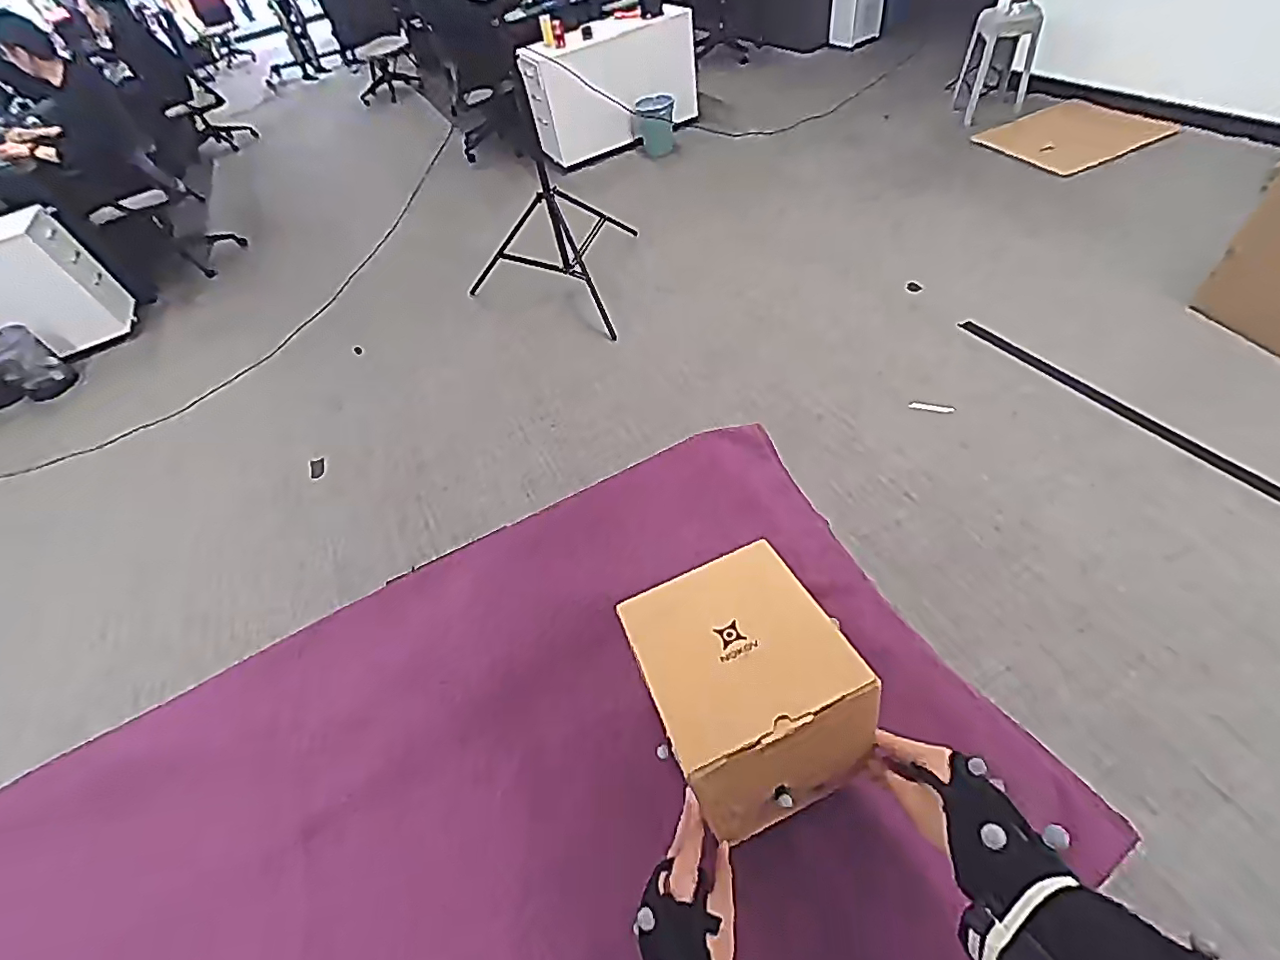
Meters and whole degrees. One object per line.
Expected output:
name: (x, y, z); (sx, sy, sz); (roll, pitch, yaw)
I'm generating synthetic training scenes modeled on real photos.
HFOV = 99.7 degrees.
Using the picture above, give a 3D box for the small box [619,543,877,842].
small box: (0.097, 0.199, 0.518); (0.168, 0.176, 0.179); (-23, 40, -7)
